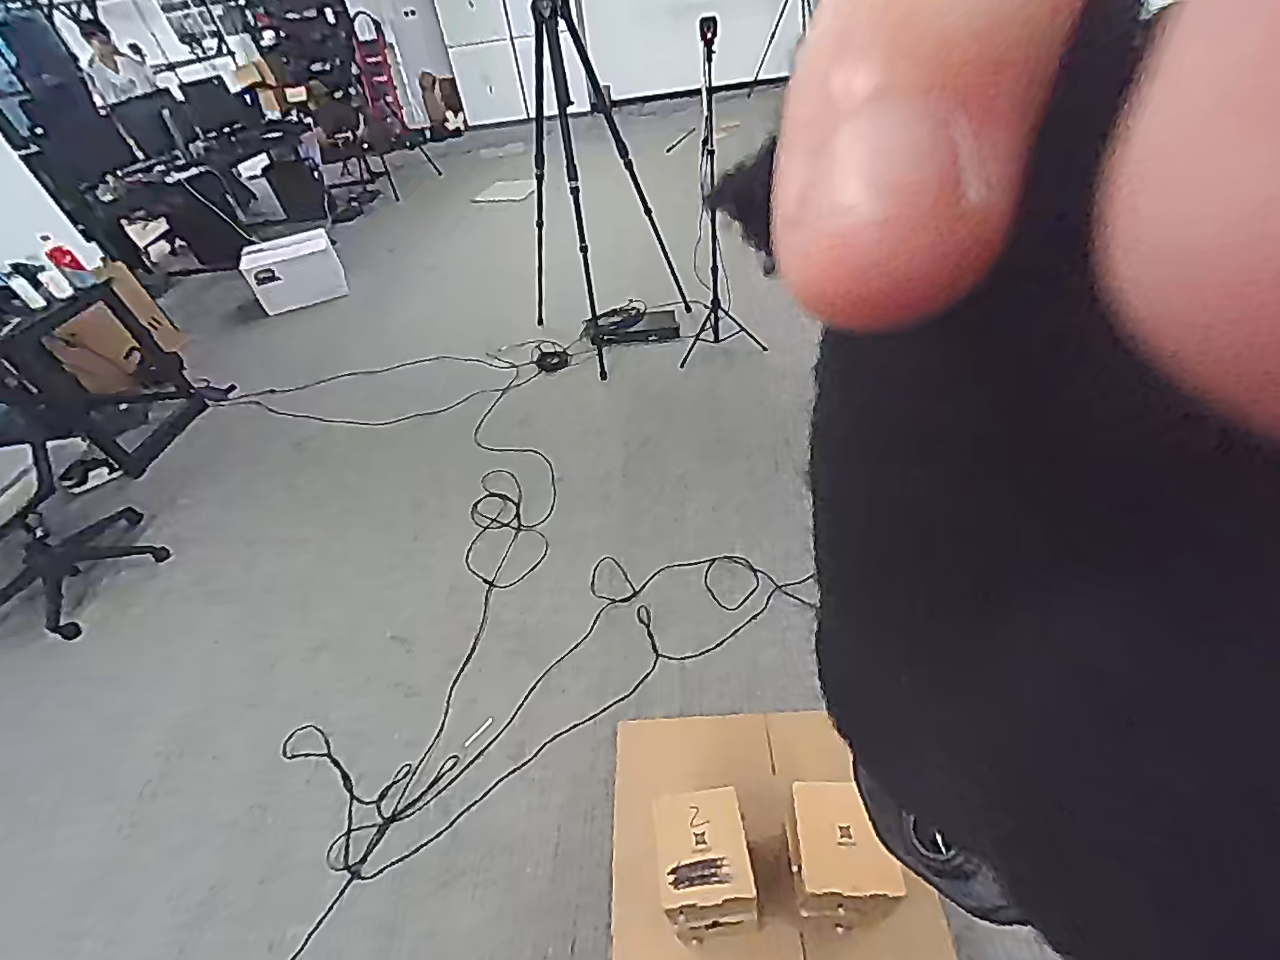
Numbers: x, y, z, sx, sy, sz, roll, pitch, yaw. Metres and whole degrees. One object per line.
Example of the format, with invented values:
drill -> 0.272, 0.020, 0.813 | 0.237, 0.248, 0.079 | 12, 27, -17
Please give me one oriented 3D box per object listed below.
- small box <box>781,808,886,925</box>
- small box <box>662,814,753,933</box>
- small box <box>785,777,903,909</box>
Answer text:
small box -> 0.392, 0.806, 1.131 | 0.168, 0.176, 0.179 | -7, 44, 6
small box -> 0.143, 0.834, 1.142 | 0.168, 0.176, 0.179 | -8, 44, 2
small box -> 0.372, 0.685, 1.023 | 0.168, 0.176, 0.179 | -4, 45, 7
